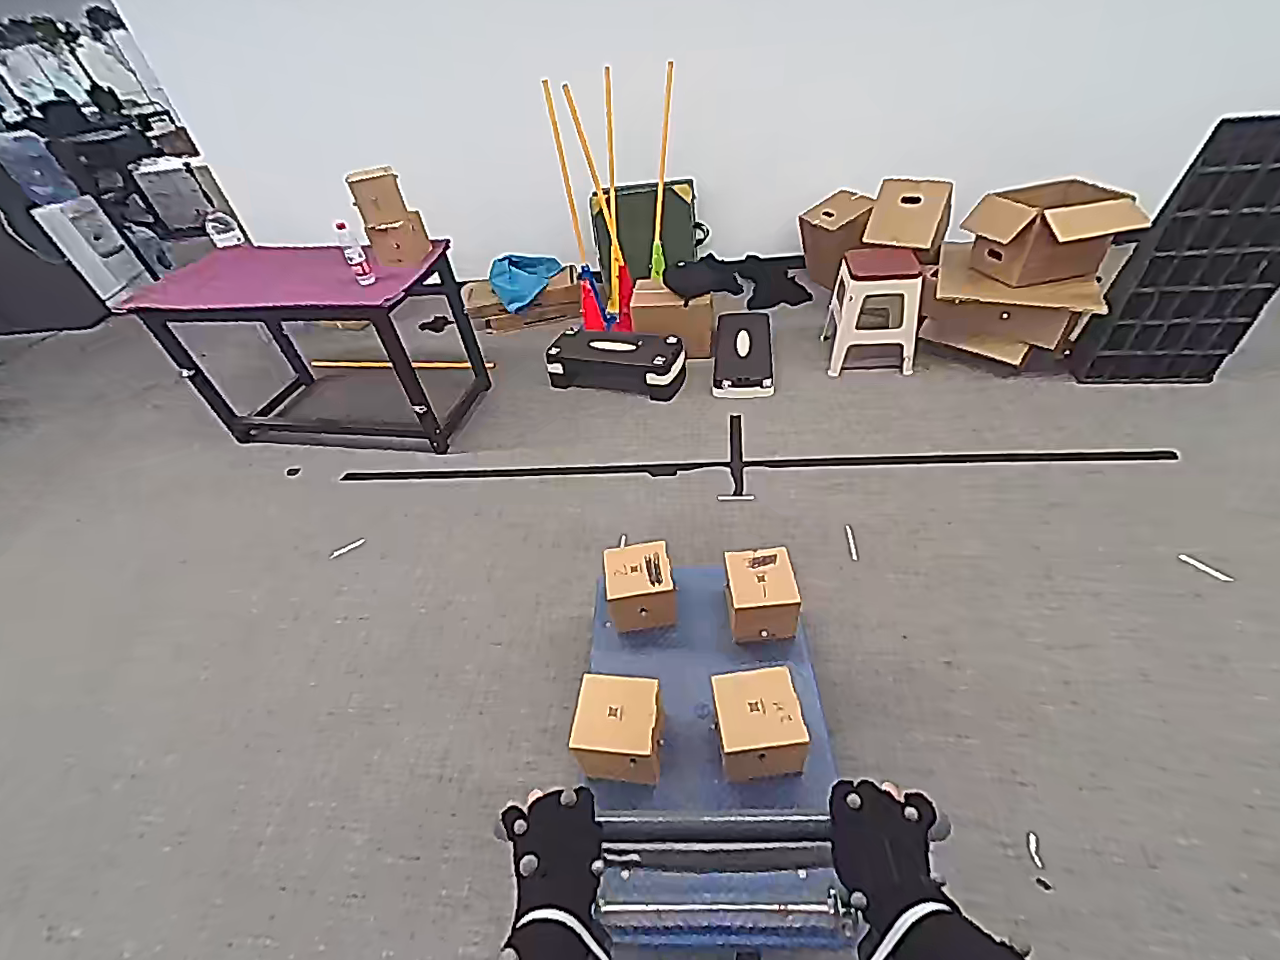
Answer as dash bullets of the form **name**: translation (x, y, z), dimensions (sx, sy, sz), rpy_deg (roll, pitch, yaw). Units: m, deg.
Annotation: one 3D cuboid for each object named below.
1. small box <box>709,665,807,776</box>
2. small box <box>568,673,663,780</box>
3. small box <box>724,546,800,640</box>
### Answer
- **small box**: translation (0.255, 0.533, 1.193), dimensions (0.179, 0.176, 0.168), rpy_deg (-8, 43, 1)
- **small box**: translation (-0.047, 0.557, 1.221), dimensions (0.179, 0.176, 0.168), rpy_deg (1, 43, 9)
- **small box**: translation (0.314, 0.299, 1.431), dimensions (0.168, 0.176, 0.179), rpy_deg (-6, 44, 3)
